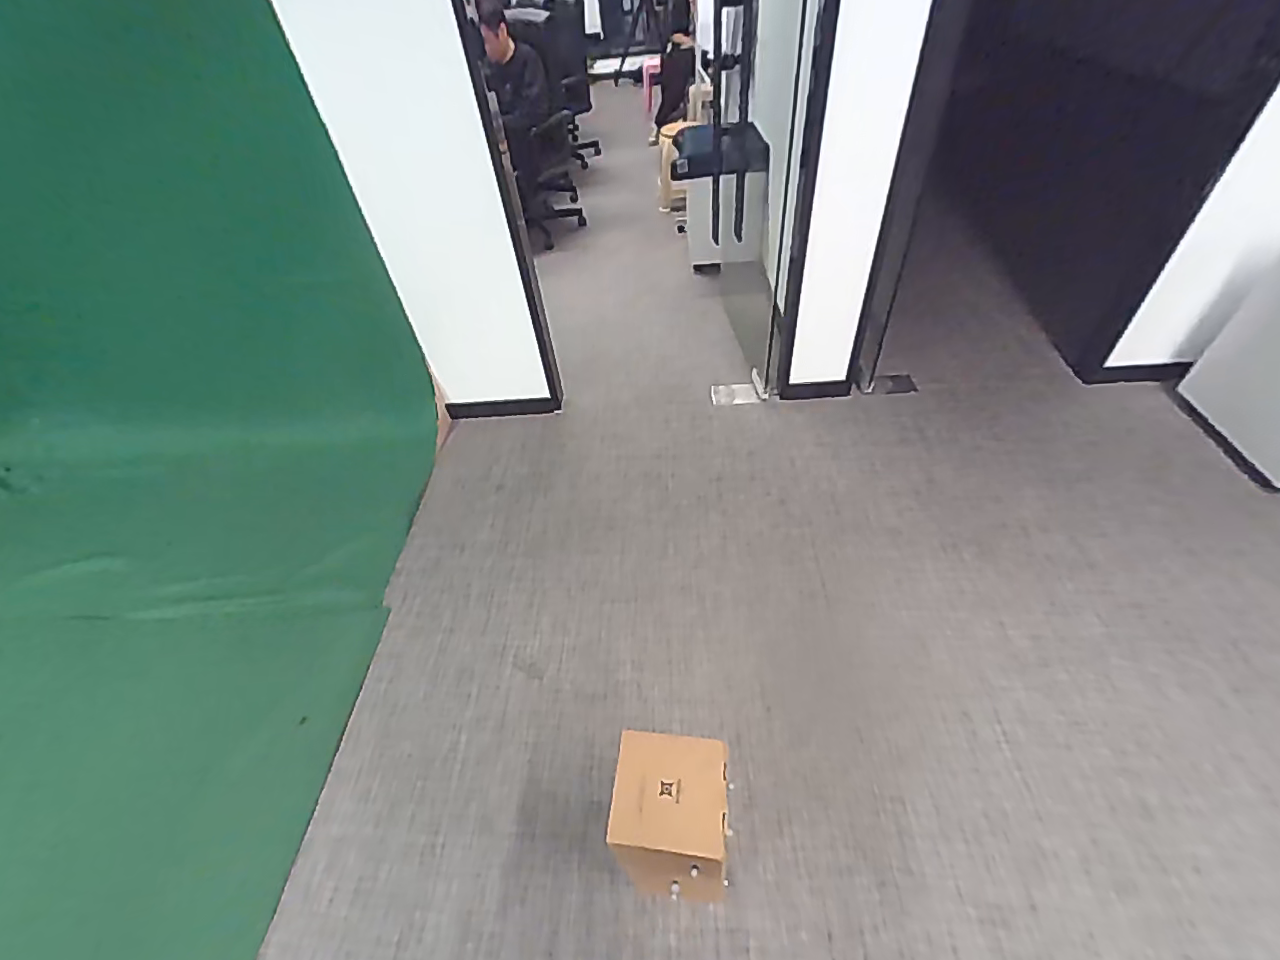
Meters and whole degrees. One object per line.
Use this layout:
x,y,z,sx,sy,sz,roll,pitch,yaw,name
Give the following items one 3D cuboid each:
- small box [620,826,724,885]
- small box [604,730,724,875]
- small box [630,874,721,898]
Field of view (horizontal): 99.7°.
0.067,0.651,1.023,0.179,0.176,0.168,-1,48,8,small box
0.050,0.540,0.903,0.179,0.176,0.168,0,45,10,small box
0.083,0.762,1.139,0.179,0.176,0.168,1,46,10,small box
